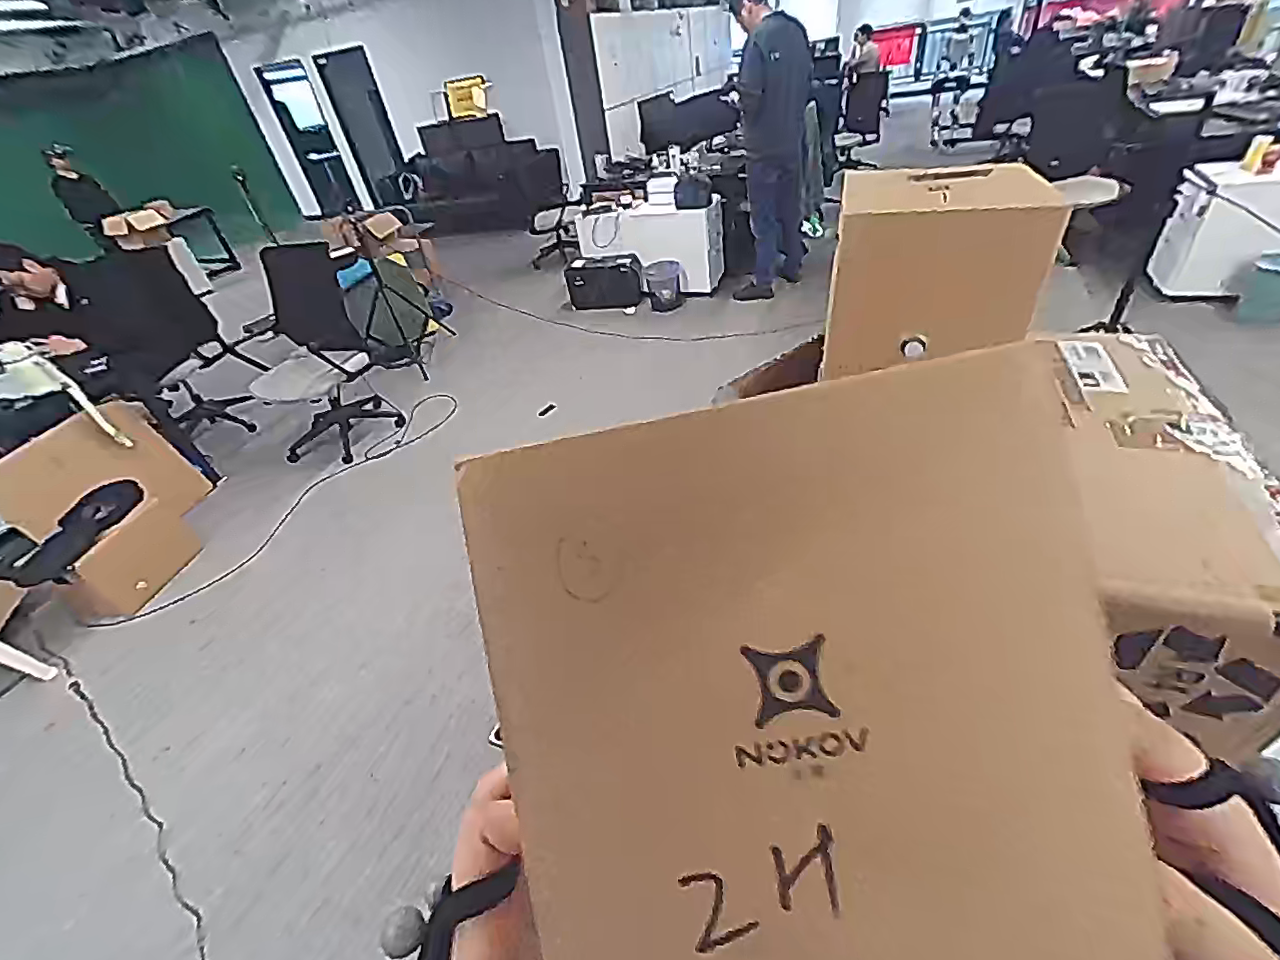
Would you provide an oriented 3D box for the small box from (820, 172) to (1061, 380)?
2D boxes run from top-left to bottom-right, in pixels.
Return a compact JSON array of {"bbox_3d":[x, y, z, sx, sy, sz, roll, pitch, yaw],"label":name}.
[{"bbox_3d":[0.278,-0.199,0.546,0.168,0.176,0.179,6,40,17],"label":"small box"}]
